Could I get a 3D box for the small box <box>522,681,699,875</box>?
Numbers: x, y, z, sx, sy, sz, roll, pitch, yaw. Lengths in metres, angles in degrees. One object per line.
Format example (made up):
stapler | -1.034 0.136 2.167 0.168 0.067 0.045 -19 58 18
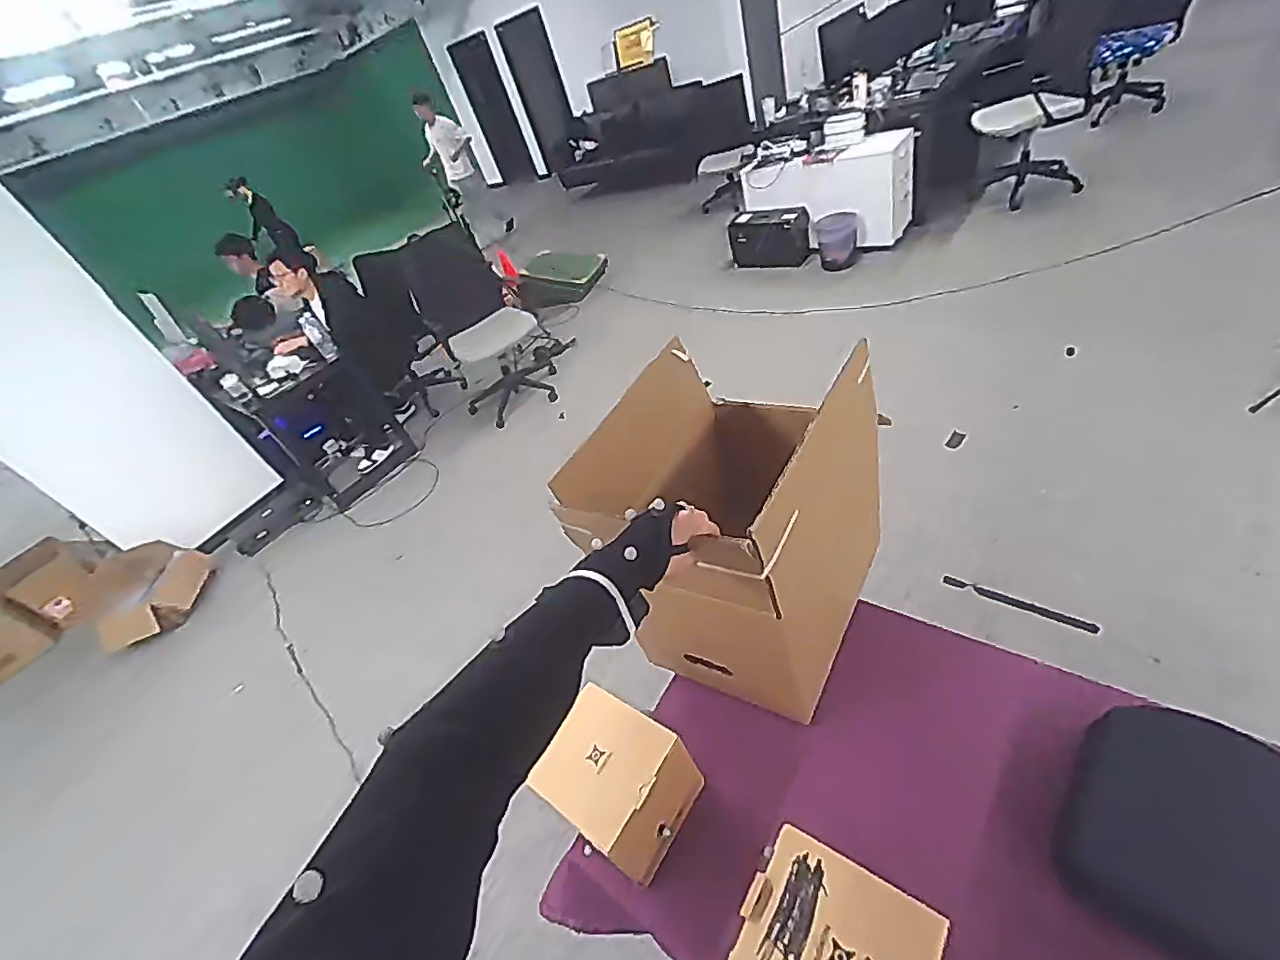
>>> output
small box | -0.036 0.443 0.806 0.179 0.176 0.168 17 52 36
